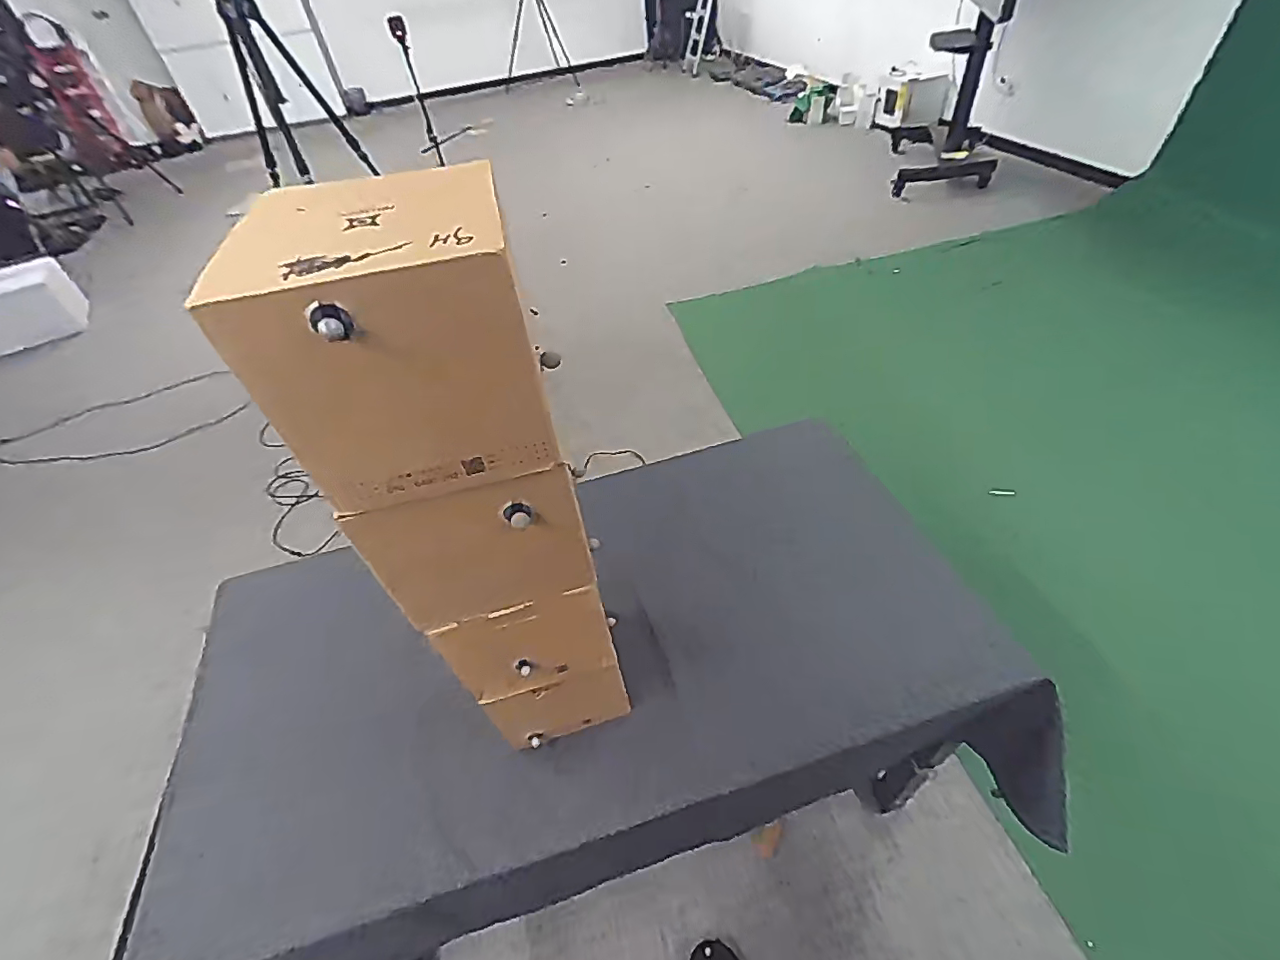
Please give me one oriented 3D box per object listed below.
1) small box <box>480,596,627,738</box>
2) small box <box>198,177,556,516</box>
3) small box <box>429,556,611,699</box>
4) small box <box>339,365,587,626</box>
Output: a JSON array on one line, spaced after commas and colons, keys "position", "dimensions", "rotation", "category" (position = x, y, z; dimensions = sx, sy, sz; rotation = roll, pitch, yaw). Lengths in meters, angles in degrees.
[{"position": [-0.123, 0.238, 0.758], "dimensions": [0.168, 0.176, 0.179], "rotation": [-16, 45, -7], "category": "small box"}, {"position": [-0.166, -0.102, 0.407], "dimensions": [0.168, 0.176, 0.179], "rotation": [-14, 46, -5], "category": "small box"}, {"position": [-0.139, 0.126, 0.642], "dimensions": [0.168, 0.176, 0.179], "rotation": [-16, 46, -7], "category": "small box"}, {"position": [-0.154, 0.013, 0.523], "dimensions": [0.179, 0.176, 0.168], "rotation": [-15, 46, -6], "category": "small box"}]
